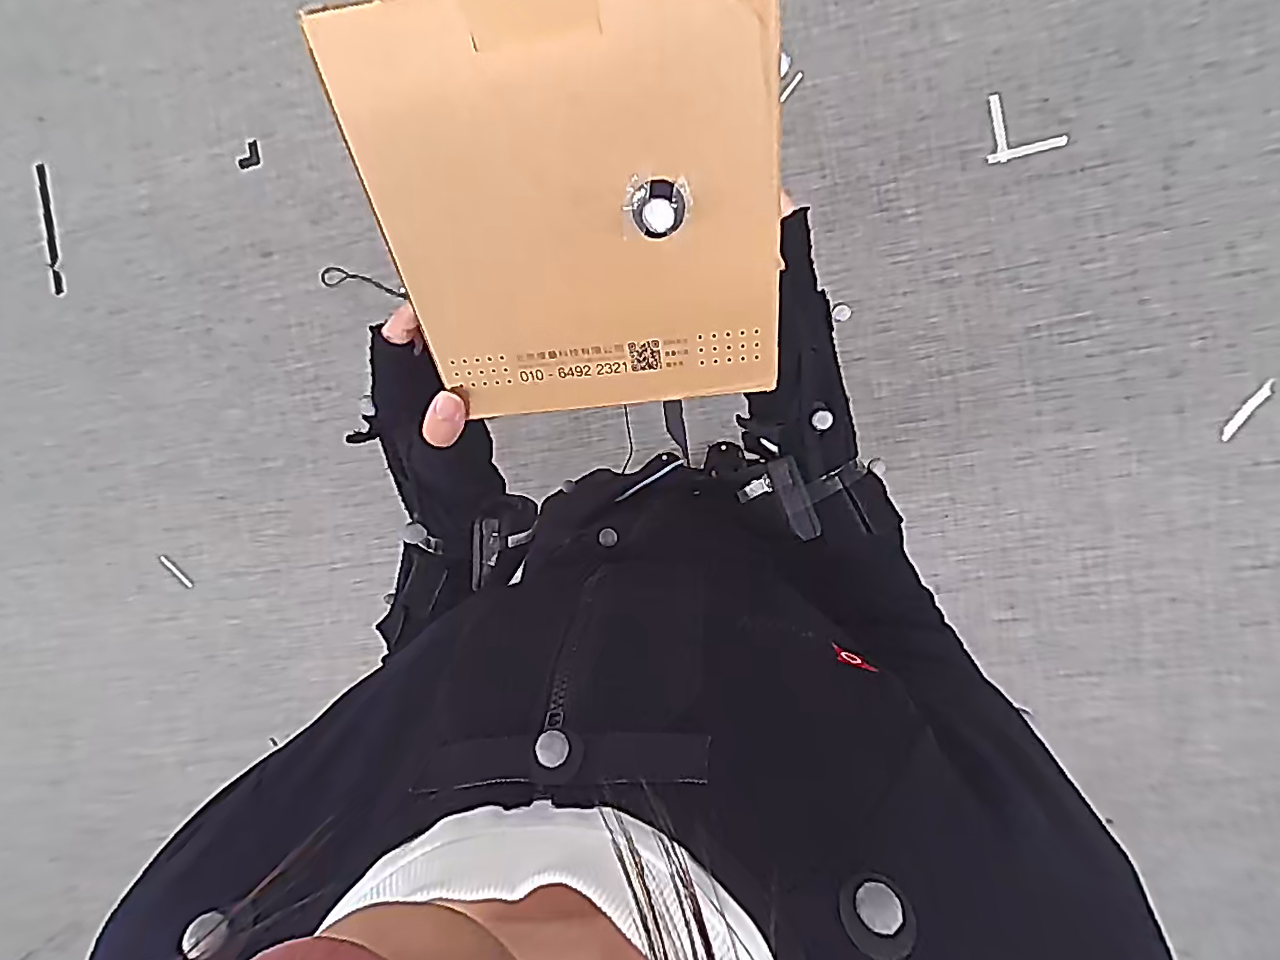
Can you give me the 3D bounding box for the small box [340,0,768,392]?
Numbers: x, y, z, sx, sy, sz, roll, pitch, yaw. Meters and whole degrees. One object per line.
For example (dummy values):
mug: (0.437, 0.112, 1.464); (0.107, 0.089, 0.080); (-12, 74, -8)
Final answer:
small box: (-0.018, -0.159, 0.307); (0.168, 0.179, 0.176); (-3, 128, 9)
